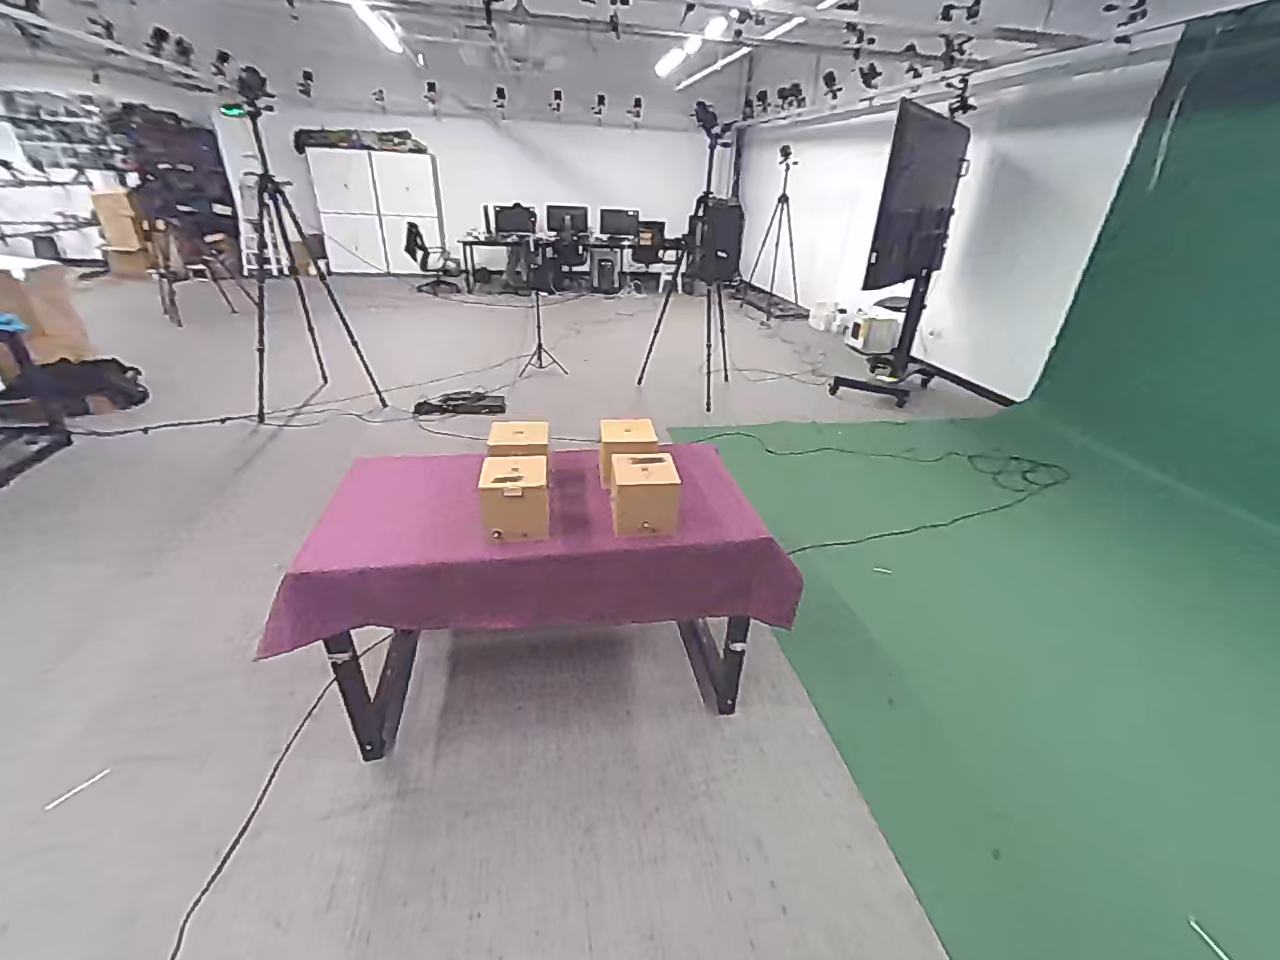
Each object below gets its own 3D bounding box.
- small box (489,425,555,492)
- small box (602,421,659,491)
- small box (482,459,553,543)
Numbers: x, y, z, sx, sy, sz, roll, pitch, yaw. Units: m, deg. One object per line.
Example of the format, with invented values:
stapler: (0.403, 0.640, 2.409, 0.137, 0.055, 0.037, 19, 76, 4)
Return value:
small box: (-0.357, -0.058, 1.662, 0.179, 0.176, 0.168, -1, 29, -7)
small box: (-0.032, -0.074, 1.708, 0.168, 0.176, 0.179, -2, 28, -6)
small box: (-0.320, 0.058, 1.444, 0.168, 0.176, 0.179, -2, 27, -8)
